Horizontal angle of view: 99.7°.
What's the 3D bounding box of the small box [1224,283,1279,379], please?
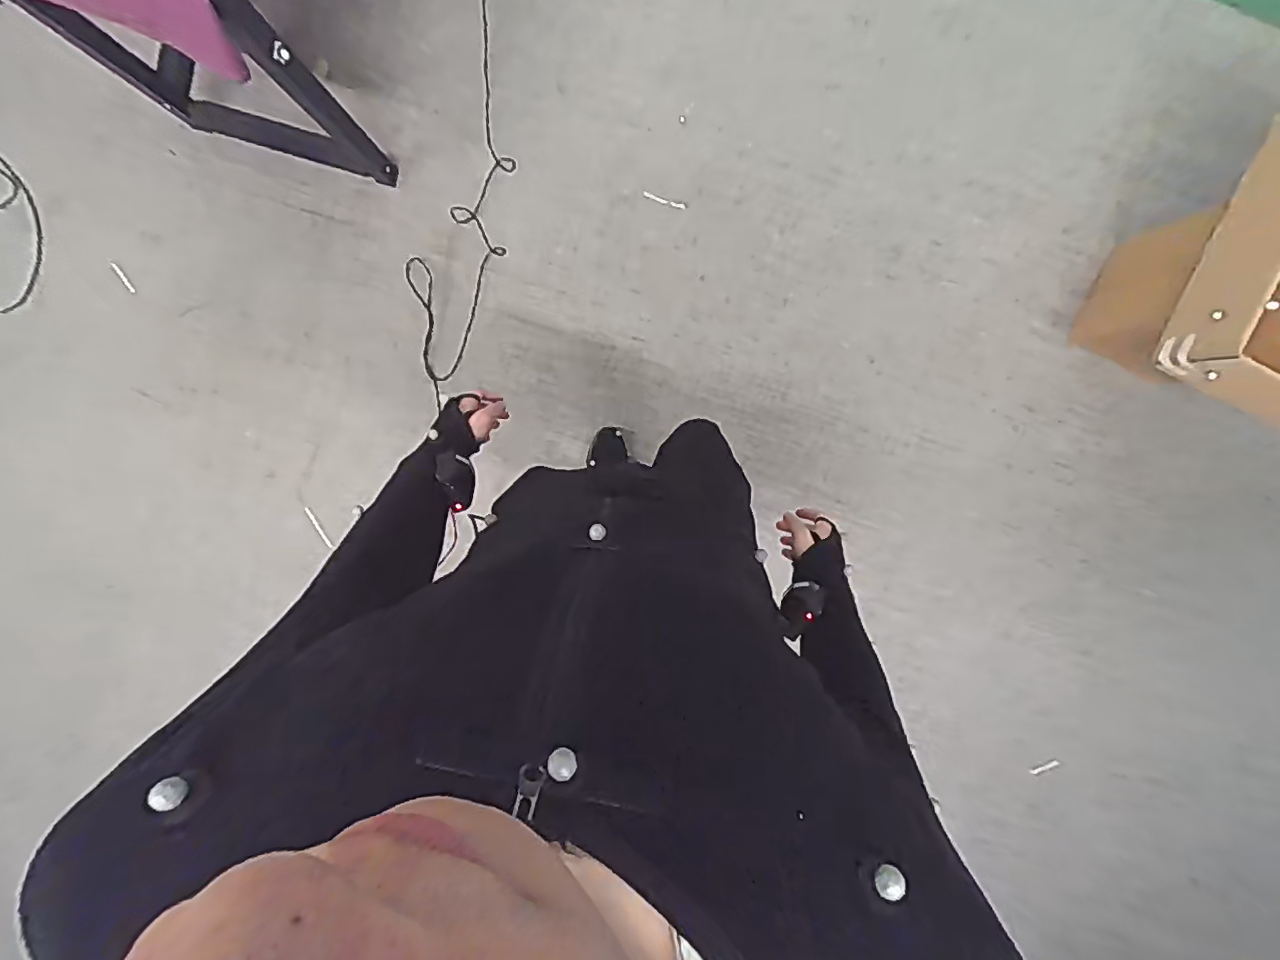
[{"bbox_3d":[1.415,-0.319,1.129,0.179,0.176,0.168,28,94,-4],"label":"small box"}]
